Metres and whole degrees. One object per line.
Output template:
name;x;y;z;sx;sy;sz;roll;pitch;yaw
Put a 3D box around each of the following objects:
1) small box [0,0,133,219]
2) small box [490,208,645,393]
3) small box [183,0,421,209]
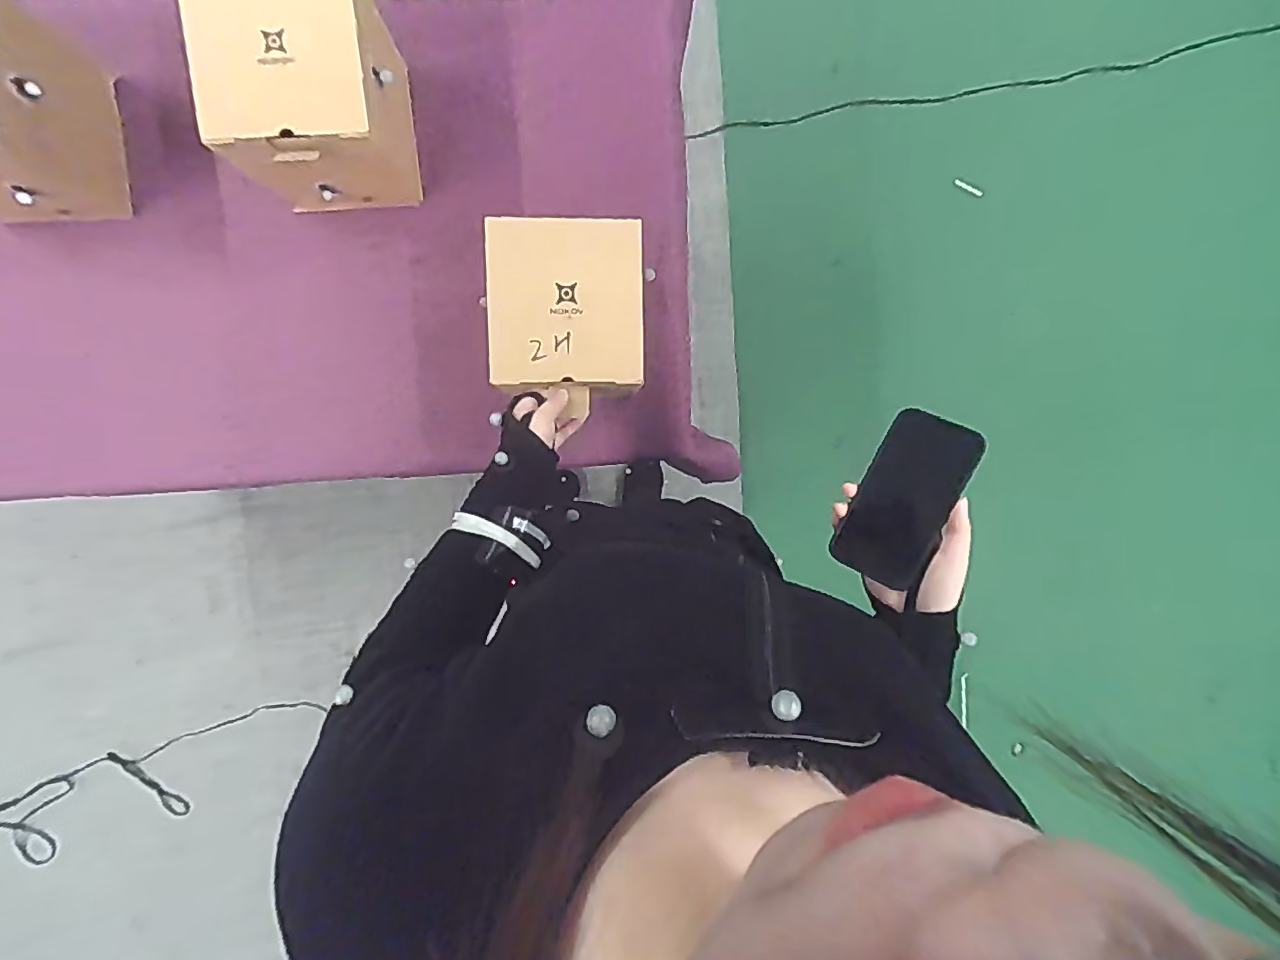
small box;-0.713;-0.402;0.592;0.168;0.176;0.179;-4;95;-5
small box;-0.082;-0.202;0.652;0.168;0.176;0.179;-1;95;-3
small box;-0.365;-0.435;0.615;0.168;0.176;0.179;-6;96;-4
